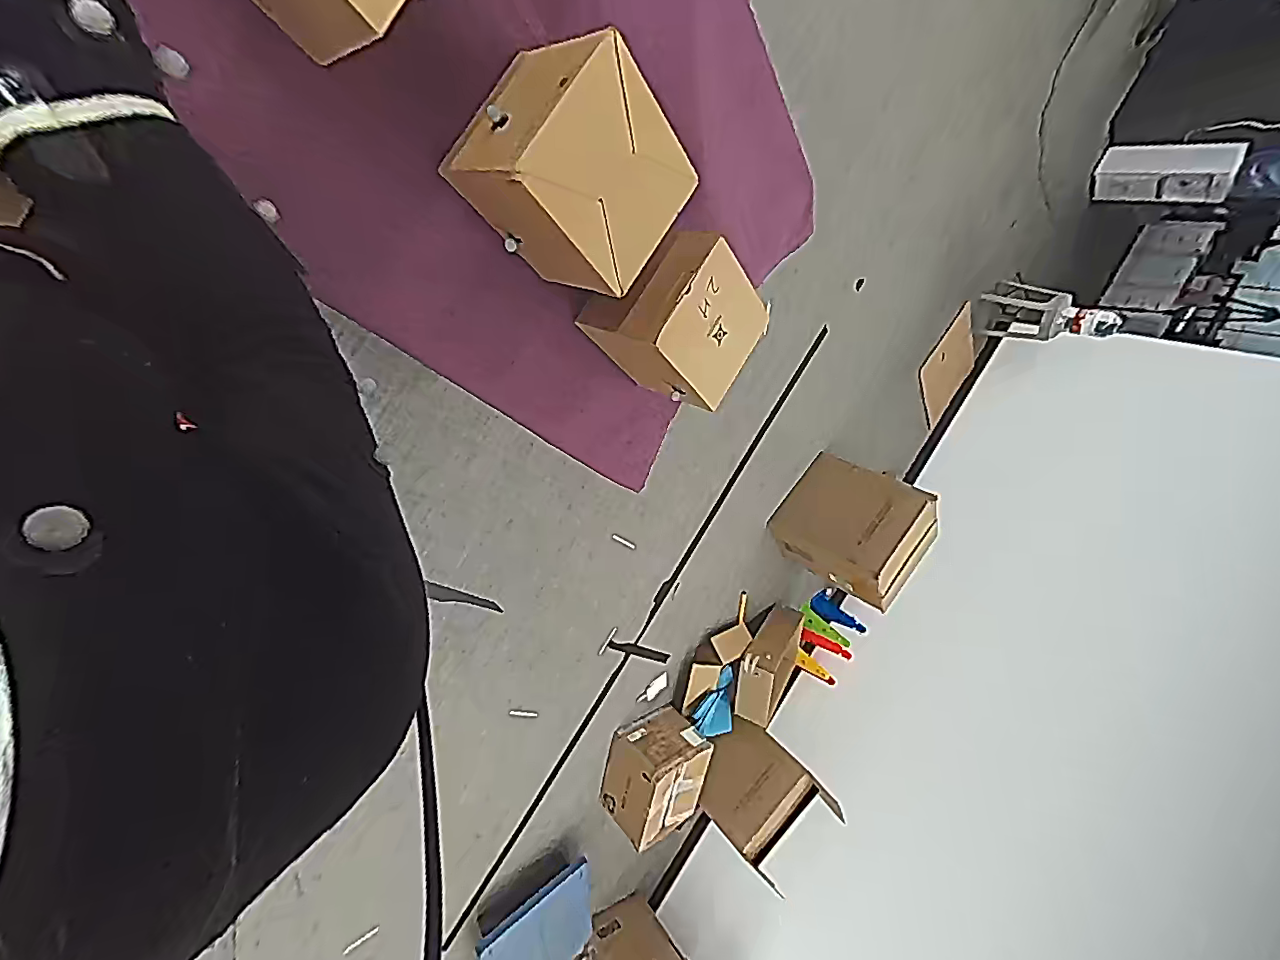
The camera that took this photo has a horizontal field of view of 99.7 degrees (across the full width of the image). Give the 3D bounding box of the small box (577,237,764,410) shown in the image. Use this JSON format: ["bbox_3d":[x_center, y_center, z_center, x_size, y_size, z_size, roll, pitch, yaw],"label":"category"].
[{"bbox_3d":[0.045,-0.231,0.787,0.179,0.176,0.168,37,82,-49],"label":"small box"}]

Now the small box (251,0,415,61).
[{"bbox_3d":[-0.236,-0.451,0.389,0.179,0.176,0.168,-57,139,-3],"label":"small box"}]
